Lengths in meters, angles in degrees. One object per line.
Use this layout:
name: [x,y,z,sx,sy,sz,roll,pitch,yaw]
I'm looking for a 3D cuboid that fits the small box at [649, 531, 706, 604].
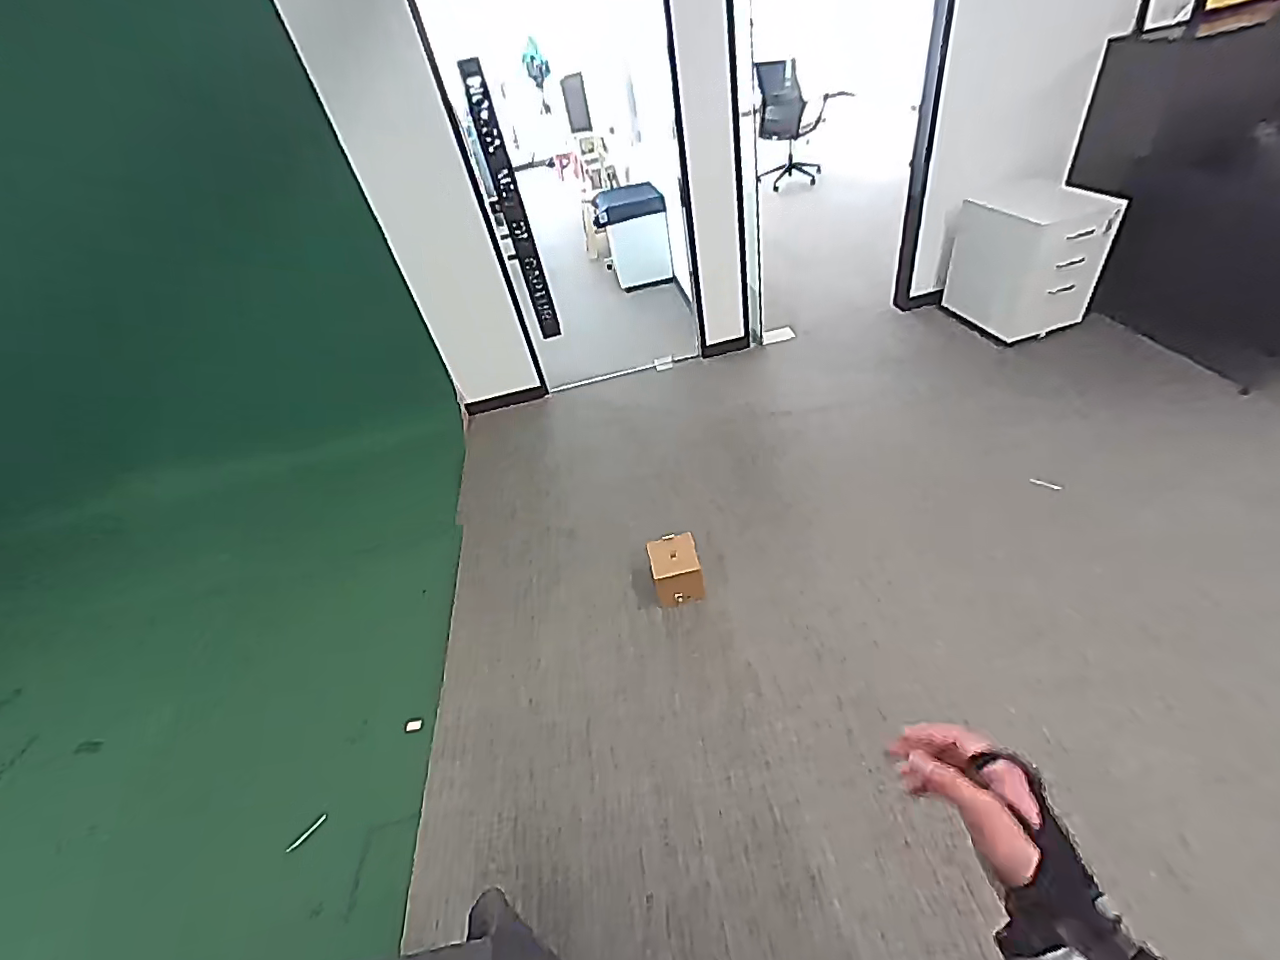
small box: [0.133,0.311,1.916,0.168,0.176,0.179,-13,41,4]
